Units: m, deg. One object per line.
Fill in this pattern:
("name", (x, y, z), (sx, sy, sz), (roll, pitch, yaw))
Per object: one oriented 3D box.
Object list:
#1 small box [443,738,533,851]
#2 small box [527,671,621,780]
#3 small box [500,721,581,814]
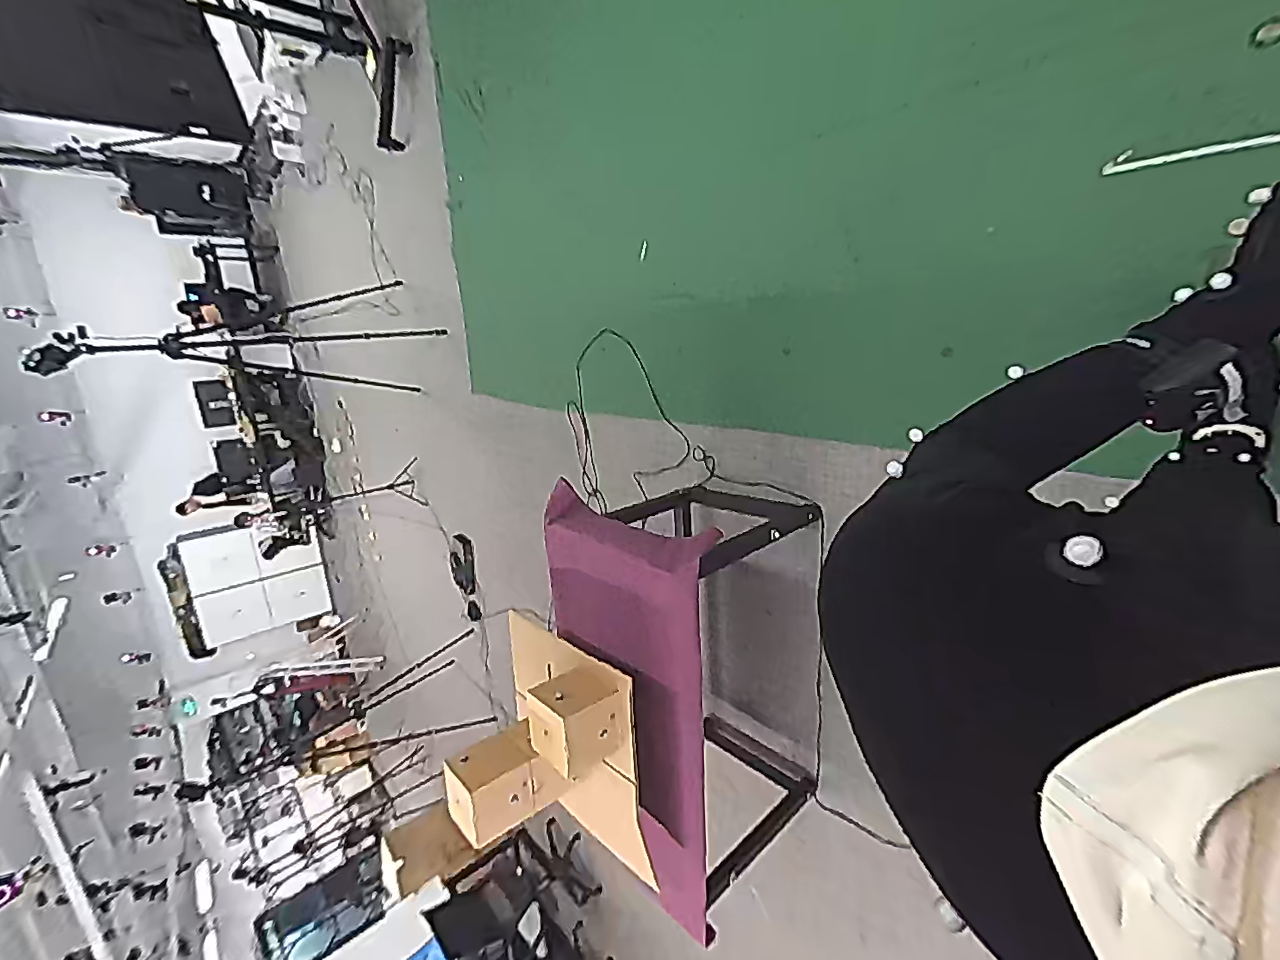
("small box", (-0.404, 0.825, 1.445), (0.179, 0.176, 0.168), (8, 106, 47))
("small box", (-0.166, 0.611, 1.376), (0.179, 0.176, 0.168), (9, 106, 47))
("small box", (-0.280, 0.798, 1.550), (0.179, 0.176, 0.168), (9, 105, 48))
